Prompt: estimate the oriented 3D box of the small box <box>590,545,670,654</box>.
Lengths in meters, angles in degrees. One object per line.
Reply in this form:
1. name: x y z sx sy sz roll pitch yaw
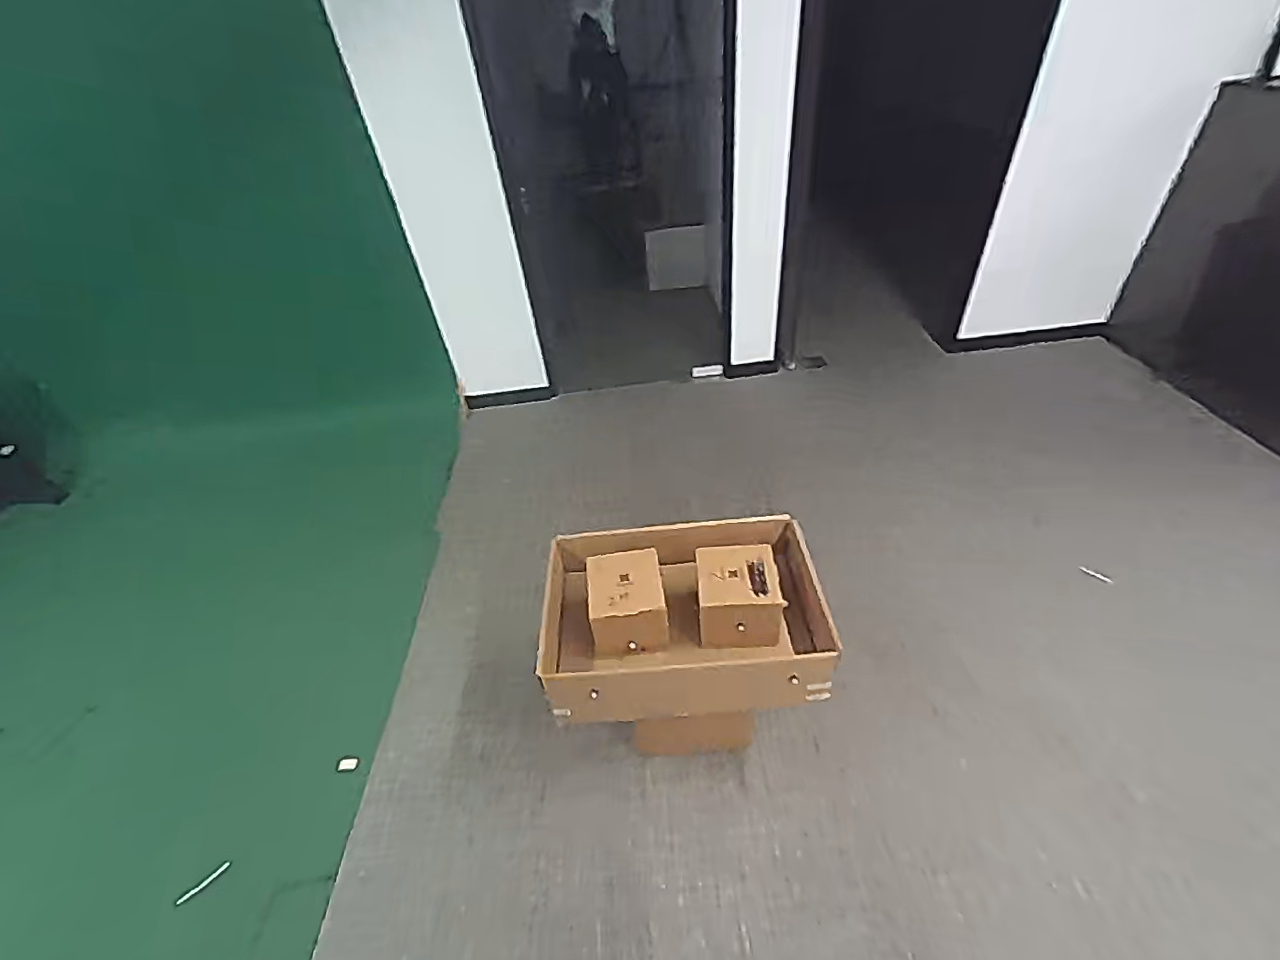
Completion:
1. small box: -0.024 0.278 1.259 0.168 0.176 0.179 -7 41 -1
